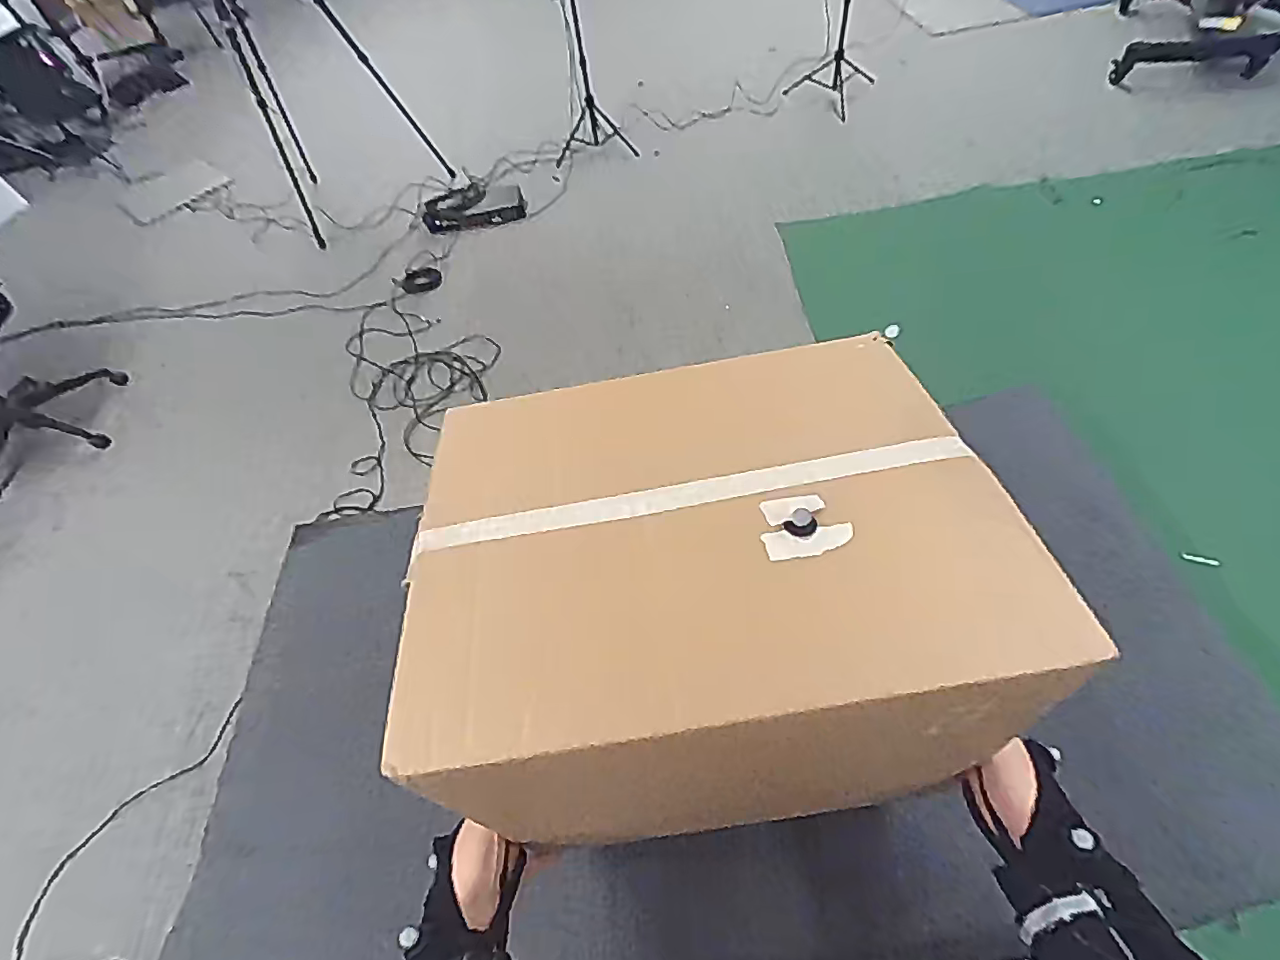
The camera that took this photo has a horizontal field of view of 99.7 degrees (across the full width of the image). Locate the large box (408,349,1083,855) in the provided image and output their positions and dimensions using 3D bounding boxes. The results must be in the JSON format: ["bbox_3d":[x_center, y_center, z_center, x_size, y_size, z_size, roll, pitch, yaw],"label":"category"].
[{"bbox_3d":[0.059,0.123,0.516,0.408,0.320,0.320,-10,49,1],"label":"large box"}]
